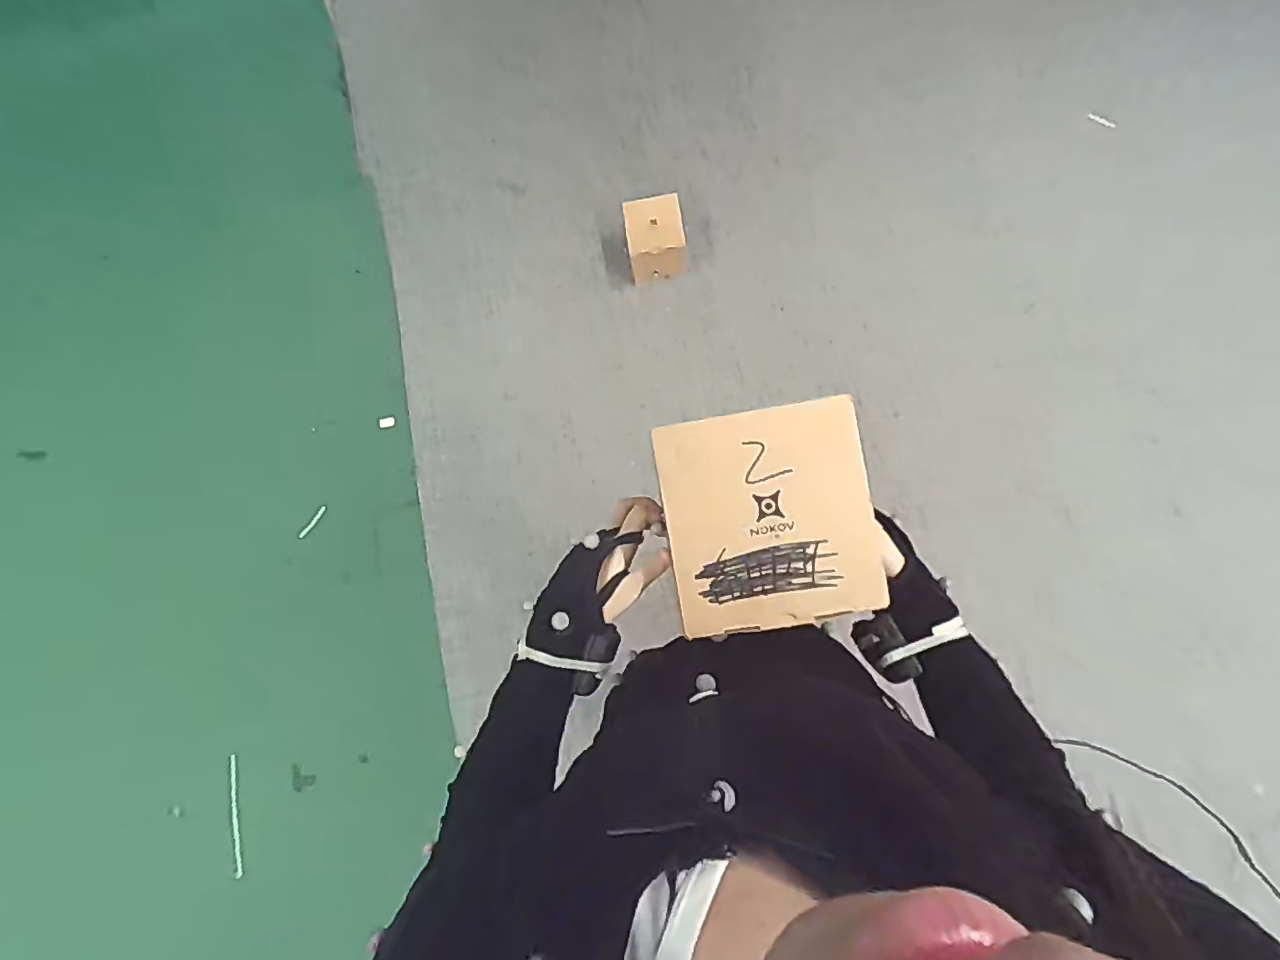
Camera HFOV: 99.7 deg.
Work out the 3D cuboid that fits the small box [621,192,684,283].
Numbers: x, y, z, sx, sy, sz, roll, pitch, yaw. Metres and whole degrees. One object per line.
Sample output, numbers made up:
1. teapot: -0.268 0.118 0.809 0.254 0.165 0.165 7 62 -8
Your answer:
1. small box: 0.039 -0.727 1.634 0.168 0.176 0.179 -9 79 3
